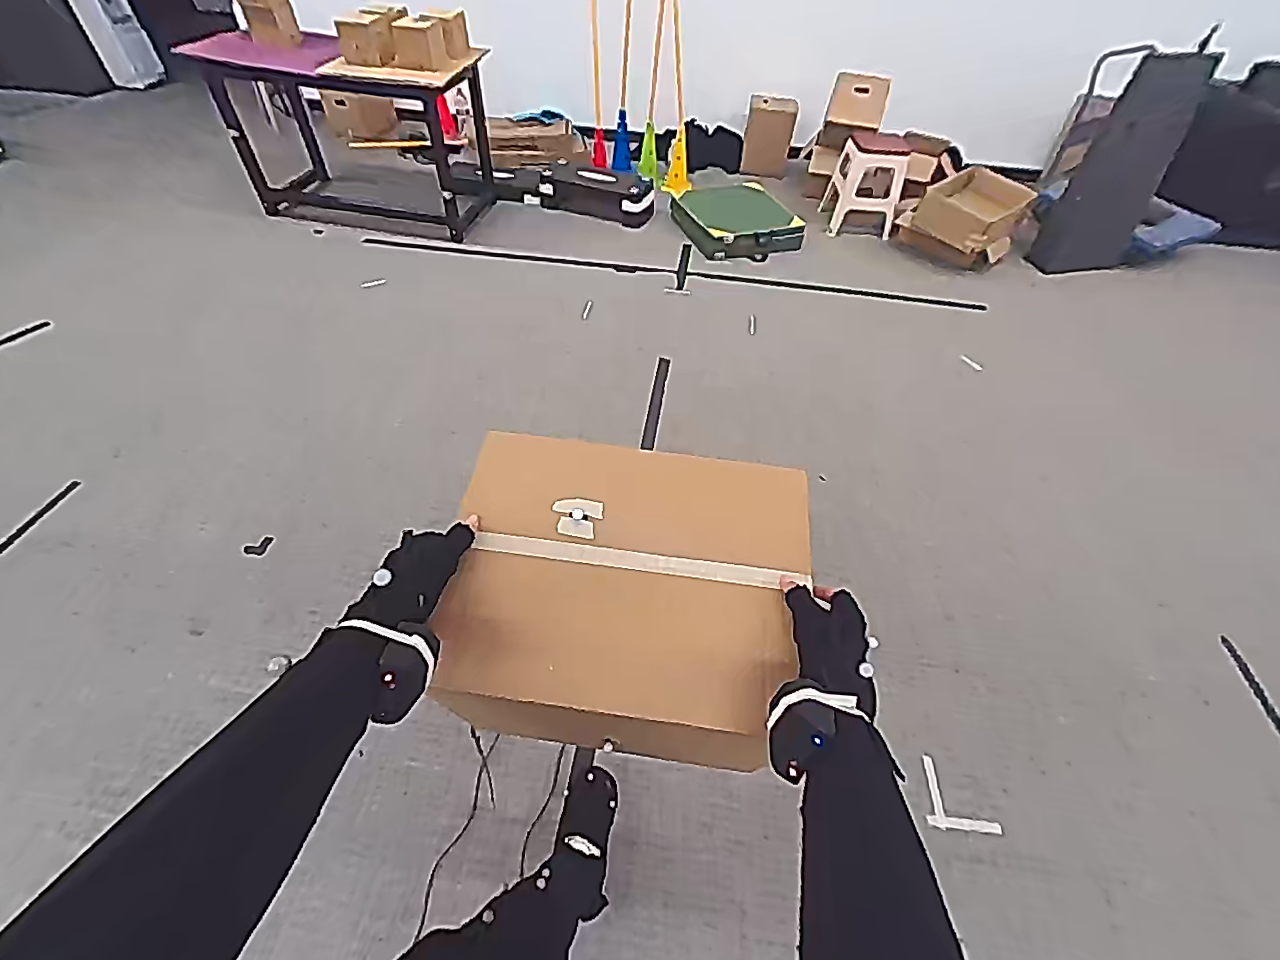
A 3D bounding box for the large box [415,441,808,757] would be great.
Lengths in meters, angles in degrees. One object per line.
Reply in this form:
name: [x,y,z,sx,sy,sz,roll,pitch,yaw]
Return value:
large box: [-0.016,0.176,0.741,0.408,0.320,0.320,7,57,3]
